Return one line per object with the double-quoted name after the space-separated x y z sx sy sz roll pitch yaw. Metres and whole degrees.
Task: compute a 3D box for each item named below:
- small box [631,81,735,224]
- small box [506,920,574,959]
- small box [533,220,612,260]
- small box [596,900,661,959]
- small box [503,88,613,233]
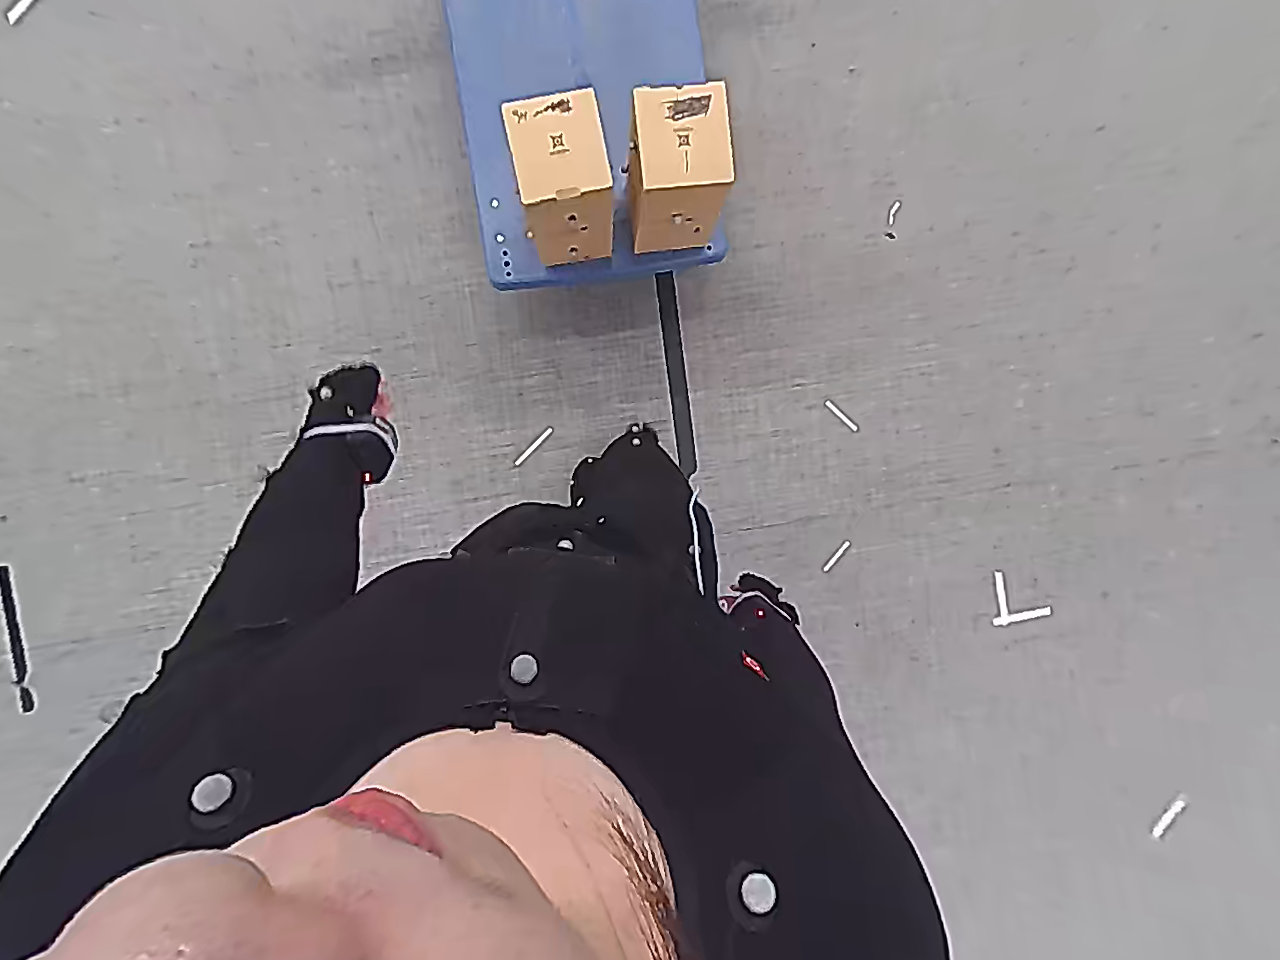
0.074 -0.613 1.027 0.168 0.176 0.179 -6 94 -3 "small box"
-0.275 1.366 1.493 0.179 0.176 0.168 -6 94 -1 "small box"
-0.153 -0.597 1.183 0.168 0.176 0.179 -10 93 -3 "small box"
-0.028 1.324 1.501 0.168 0.176 0.179 -8 93 -3 "small box"
-0.145 -0.585 1.018 0.168 0.176 0.179 -12 95 -3 "small box"
